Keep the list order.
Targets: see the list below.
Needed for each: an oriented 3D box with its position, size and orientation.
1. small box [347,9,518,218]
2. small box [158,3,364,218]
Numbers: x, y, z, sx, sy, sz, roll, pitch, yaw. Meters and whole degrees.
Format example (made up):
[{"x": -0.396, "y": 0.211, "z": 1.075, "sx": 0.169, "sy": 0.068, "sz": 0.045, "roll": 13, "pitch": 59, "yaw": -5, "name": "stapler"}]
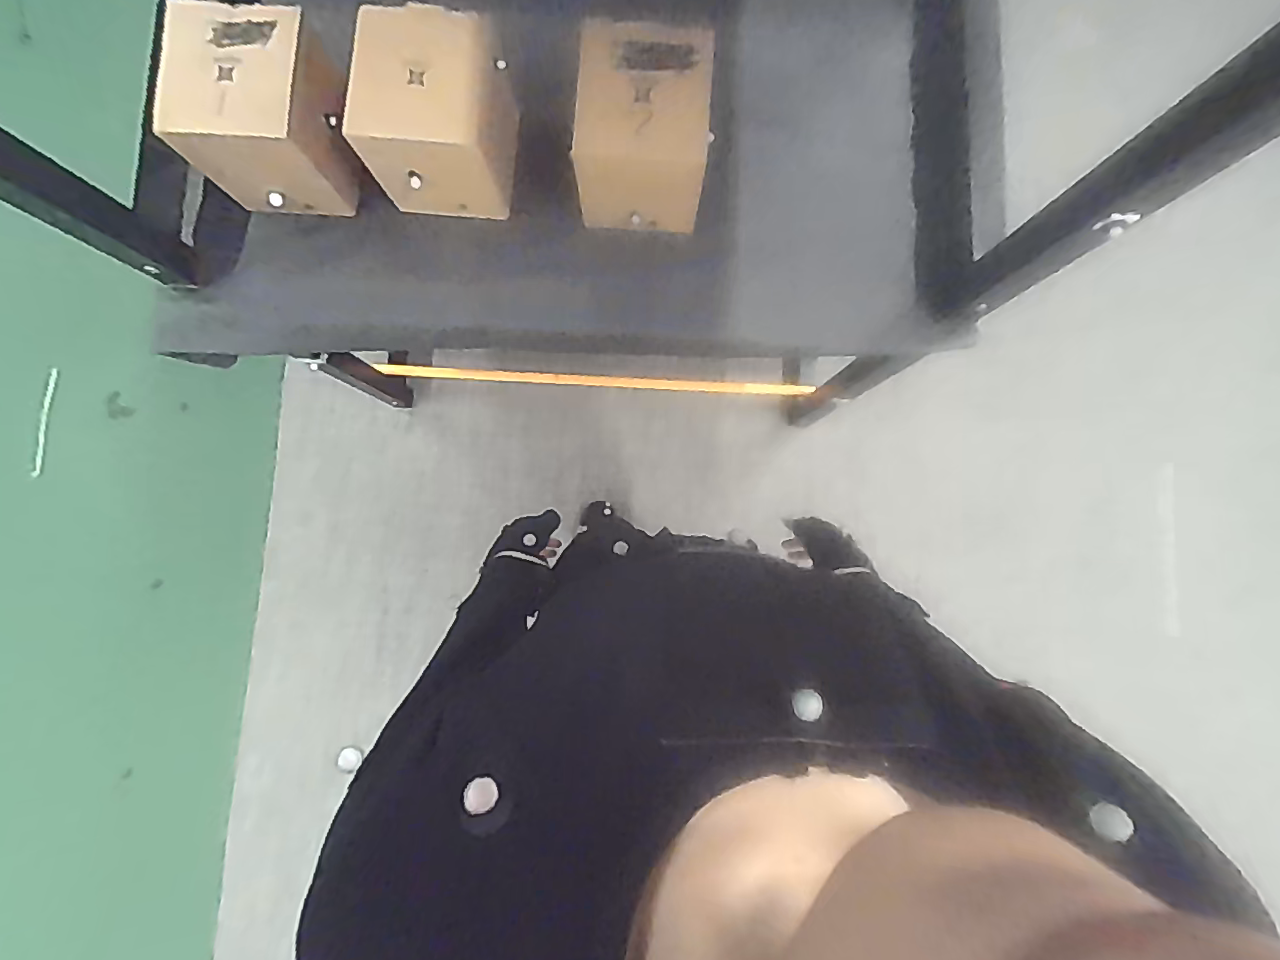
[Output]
[{"x": -0.273, "y": -0.491, "z": 0.748, "sx": 0.168, "sy": 0.176, "sz": 0.179, "roll": 4, "pitch": 84, "yaw": 0, "name": "small box"}, {"x": -0.500, "y": -0.495, "z": 0.744, "sx": 0.168, "sy": 0.176, "sz": 0.179, "roll": 3, "pitch": 85, "yaw": 0, "name": "small box"}]
